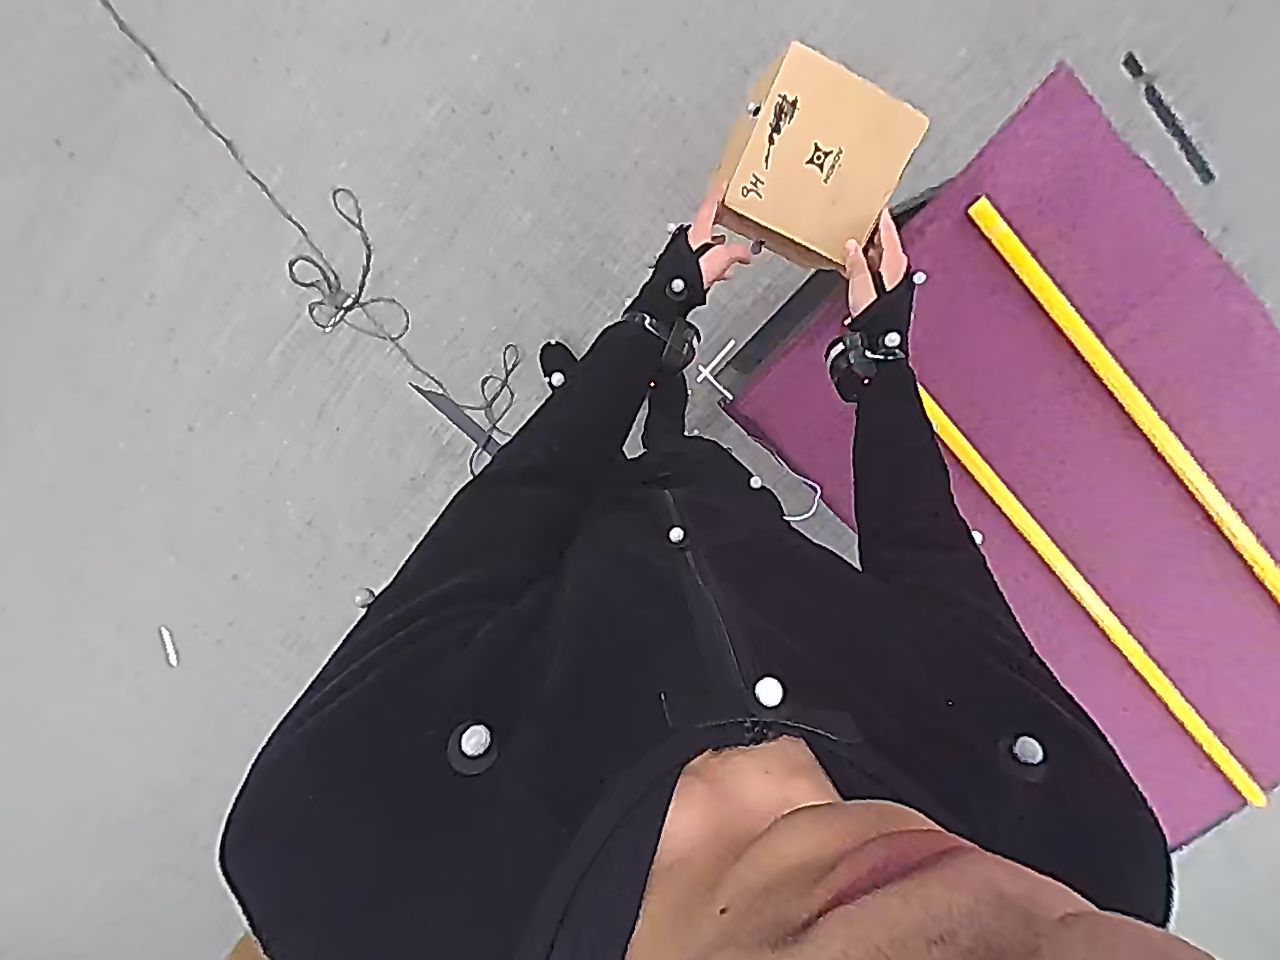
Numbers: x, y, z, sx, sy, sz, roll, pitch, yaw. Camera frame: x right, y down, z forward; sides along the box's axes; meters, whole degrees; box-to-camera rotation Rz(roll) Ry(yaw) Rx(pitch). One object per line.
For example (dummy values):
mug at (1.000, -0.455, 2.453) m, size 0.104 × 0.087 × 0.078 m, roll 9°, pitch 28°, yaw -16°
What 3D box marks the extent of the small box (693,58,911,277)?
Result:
small box at (0.187, -0.376, 0.680) m, size 0.179 × 0.176 × 0.168 m, roll 21°, pitch 110°, yaw -12°
